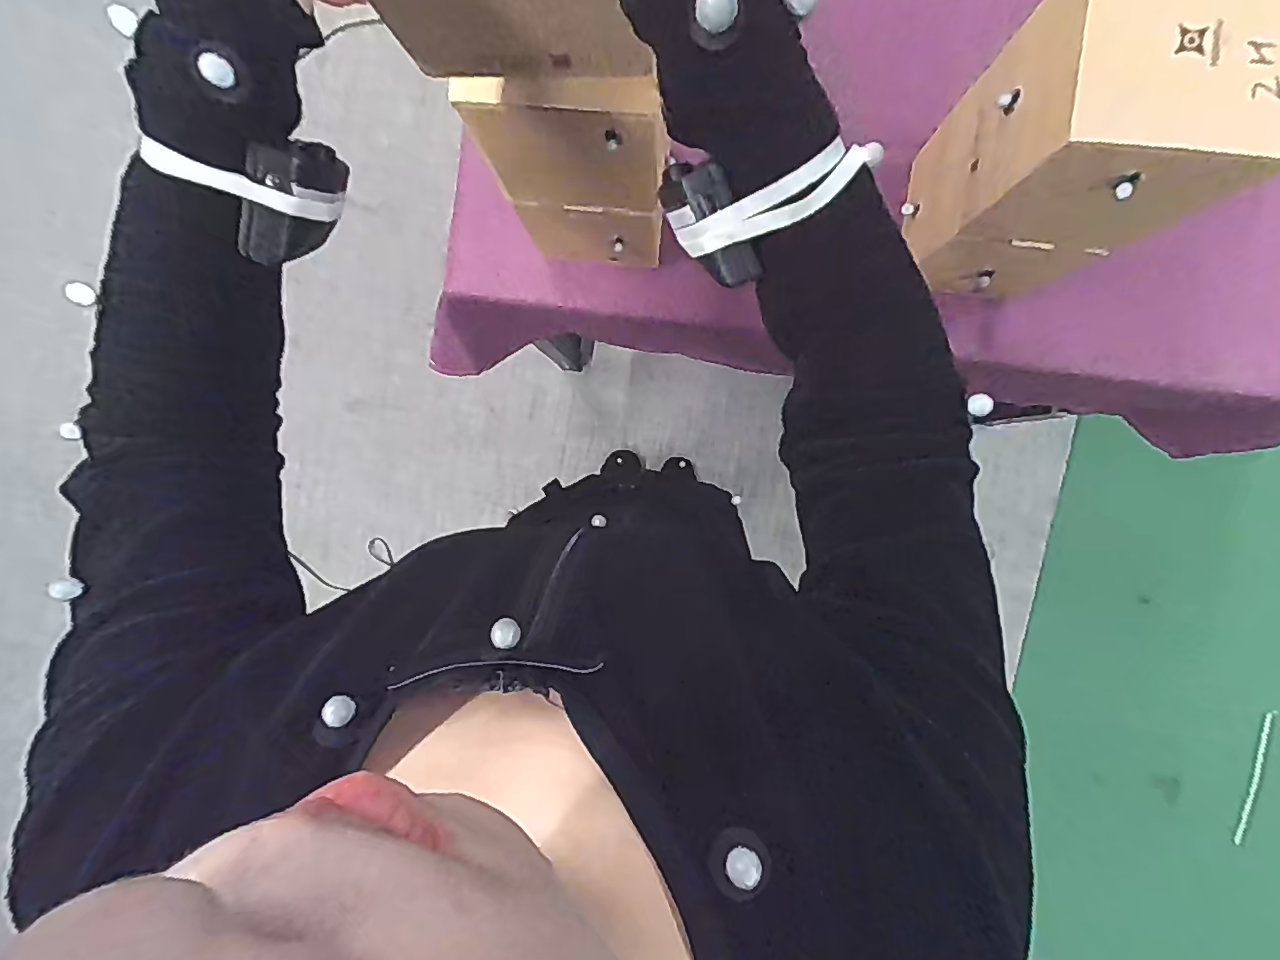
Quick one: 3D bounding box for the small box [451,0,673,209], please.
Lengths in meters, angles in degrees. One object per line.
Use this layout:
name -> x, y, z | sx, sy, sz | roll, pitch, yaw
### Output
small box -> -0.063, -0.386, 0.526 | 0.179, 0.176, 0.168 | 5, 92, 1

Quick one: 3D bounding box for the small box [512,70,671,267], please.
small box -> -0.052, -0.390, 0.688 | 0.168, 0.176, 0.179 | 7, 91, 1

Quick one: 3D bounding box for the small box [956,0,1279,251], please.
small box -> 0.429, -0.331, 0.502 | 0.179, 0.176, 0.168 | 8, 92, 2

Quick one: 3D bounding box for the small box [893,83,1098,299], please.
small box -> 0.435, -0.338, 0.668 | 0.168, 0.176, 0.179 | 9, 93, 2
